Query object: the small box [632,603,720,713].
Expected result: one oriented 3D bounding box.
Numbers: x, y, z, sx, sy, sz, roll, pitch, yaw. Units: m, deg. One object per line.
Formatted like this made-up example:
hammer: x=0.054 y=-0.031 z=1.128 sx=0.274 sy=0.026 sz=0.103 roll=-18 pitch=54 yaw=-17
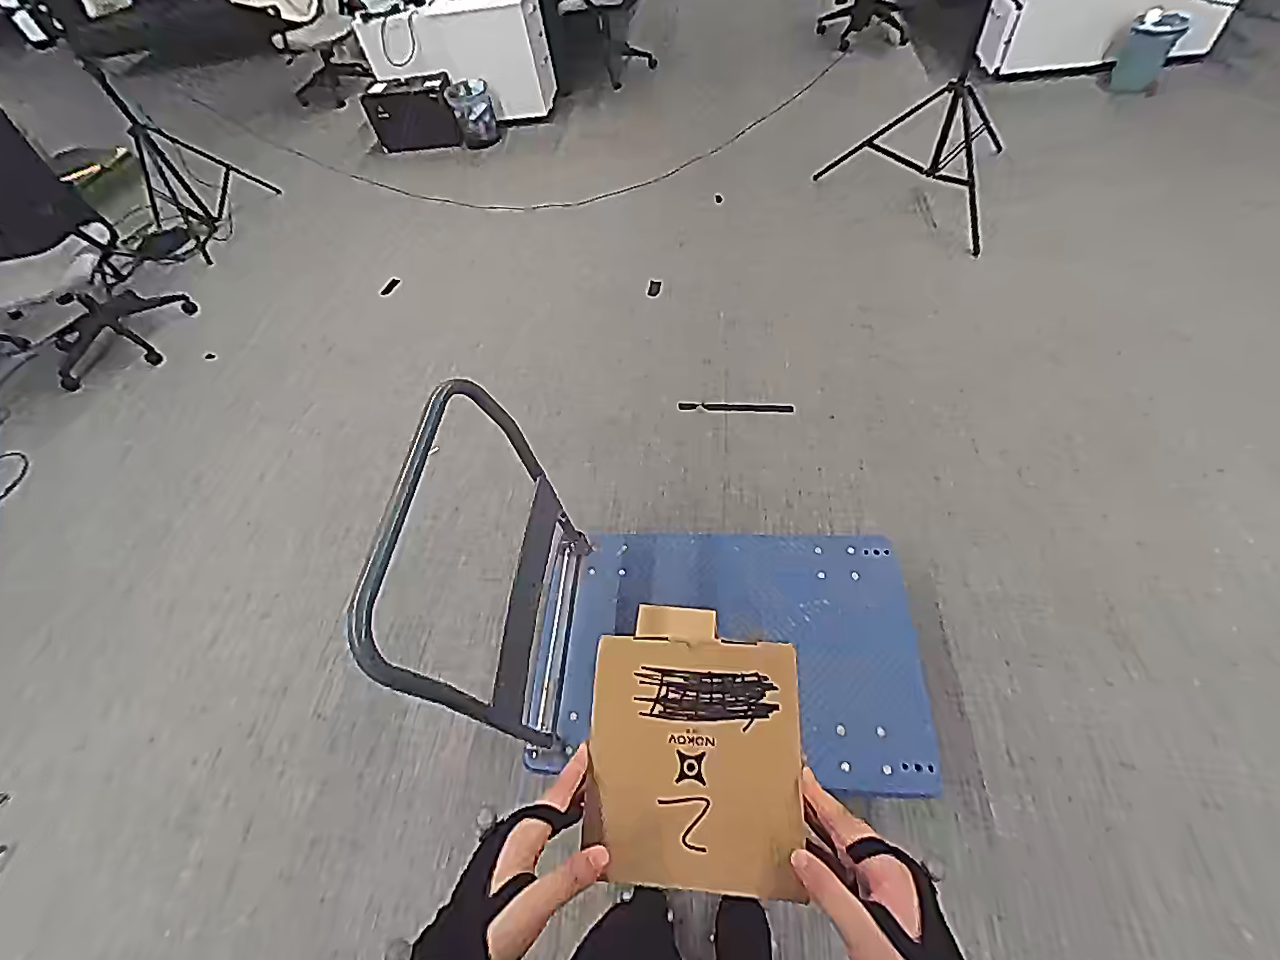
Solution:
small box: x=0.085 y=0.388 z=1.173 sx=0.168 sy=0.176 sz=0.179 roll=2 pitch=56 yaw=11
